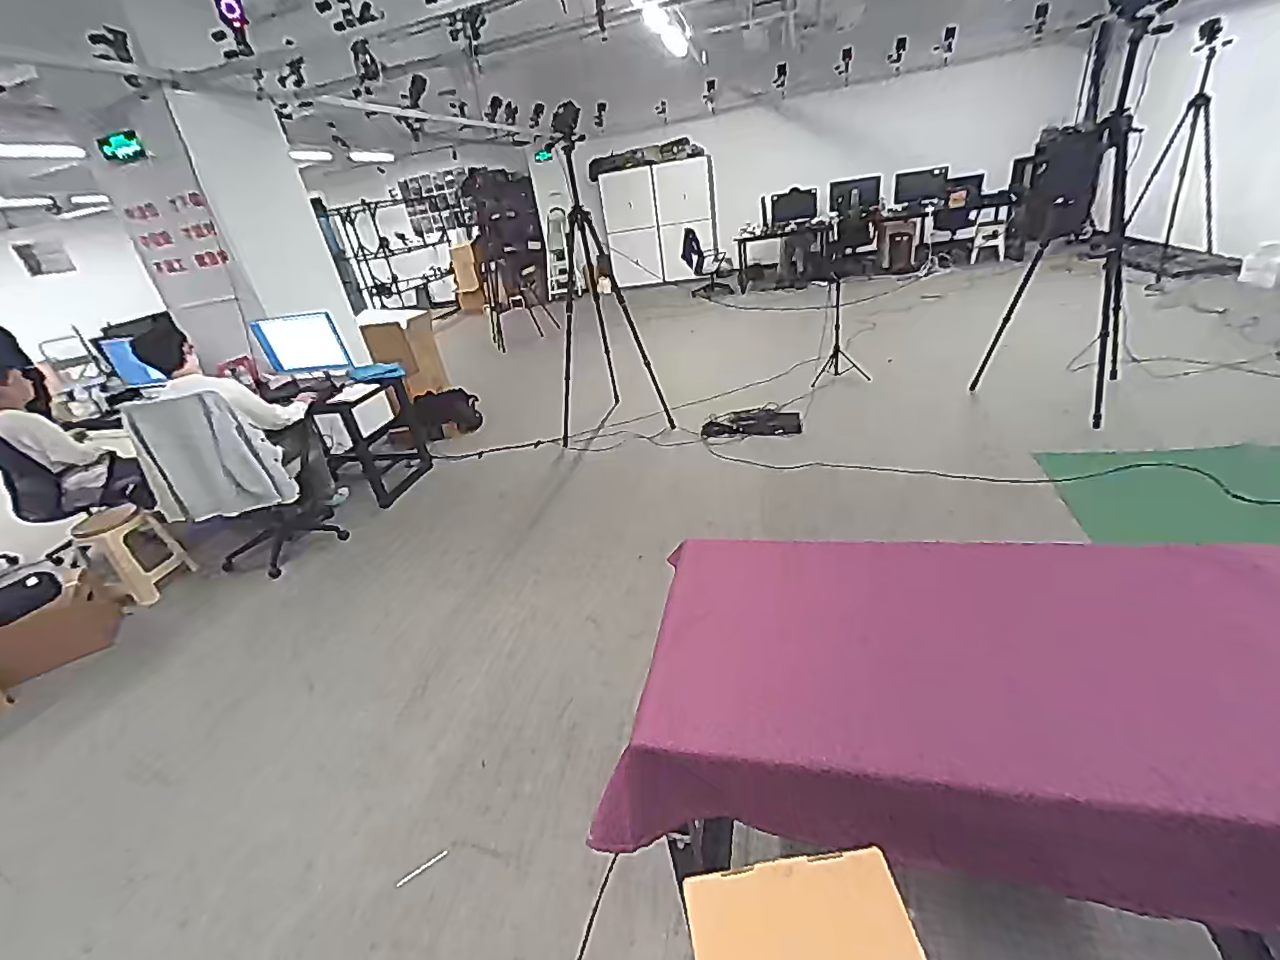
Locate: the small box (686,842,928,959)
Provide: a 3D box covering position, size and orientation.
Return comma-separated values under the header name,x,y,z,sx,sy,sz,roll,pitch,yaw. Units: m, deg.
name,x,y,z,sx,sy,sz,roll,pitch,yaw
small box,0.137,0.425,0.418,0.168,0.176,0.179,-10,32,0
